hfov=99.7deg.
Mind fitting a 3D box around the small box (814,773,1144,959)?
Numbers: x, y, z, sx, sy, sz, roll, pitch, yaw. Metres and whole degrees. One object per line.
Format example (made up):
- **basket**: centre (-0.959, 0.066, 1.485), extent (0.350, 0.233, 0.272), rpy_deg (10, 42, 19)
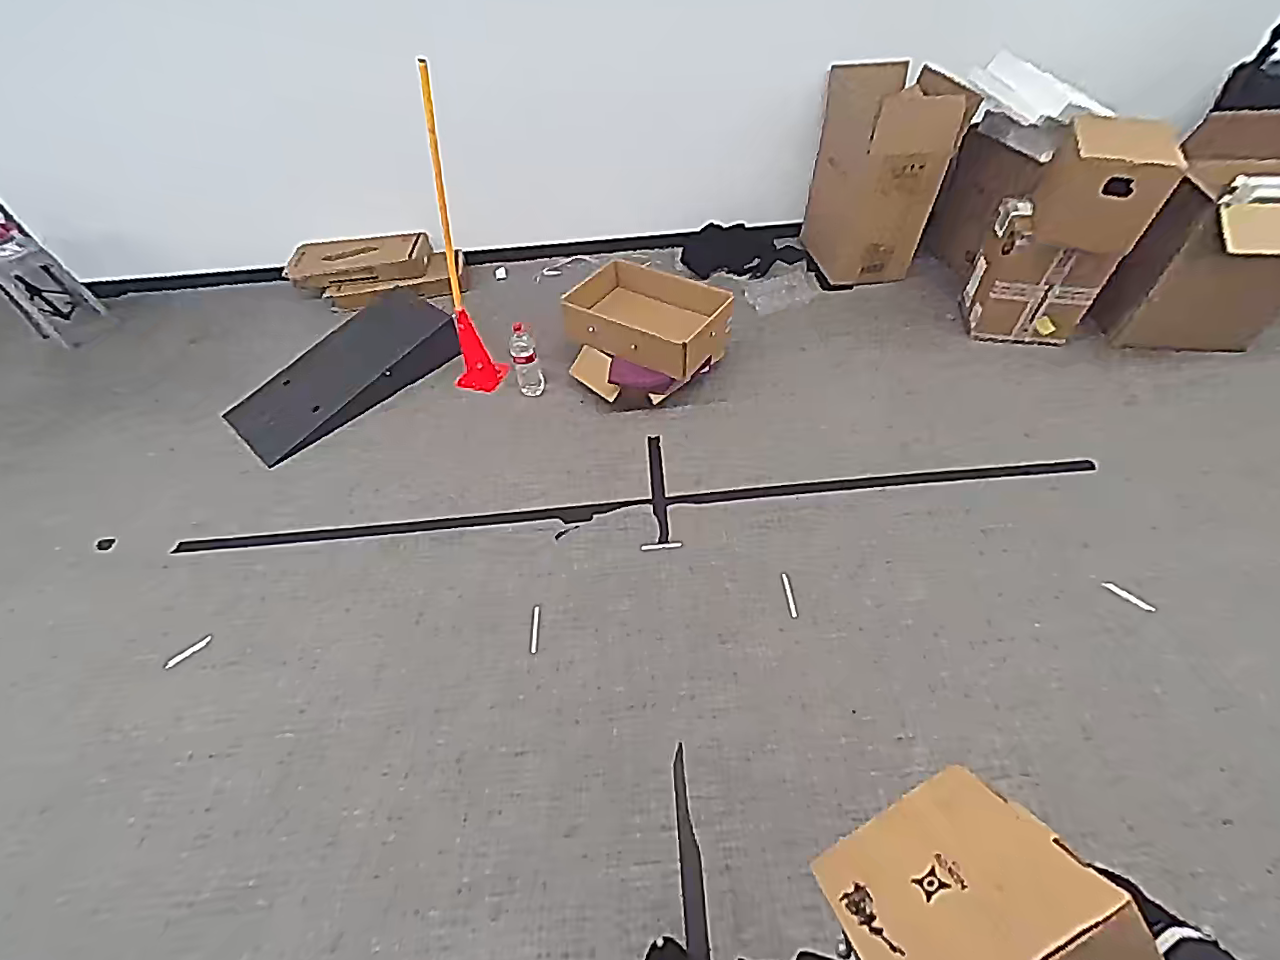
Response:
- **small box**: centre (0.284, 0.398, 0.445), extent (0.179, 0.168, 0.176), rpy_deg (-30, 94, -4)
